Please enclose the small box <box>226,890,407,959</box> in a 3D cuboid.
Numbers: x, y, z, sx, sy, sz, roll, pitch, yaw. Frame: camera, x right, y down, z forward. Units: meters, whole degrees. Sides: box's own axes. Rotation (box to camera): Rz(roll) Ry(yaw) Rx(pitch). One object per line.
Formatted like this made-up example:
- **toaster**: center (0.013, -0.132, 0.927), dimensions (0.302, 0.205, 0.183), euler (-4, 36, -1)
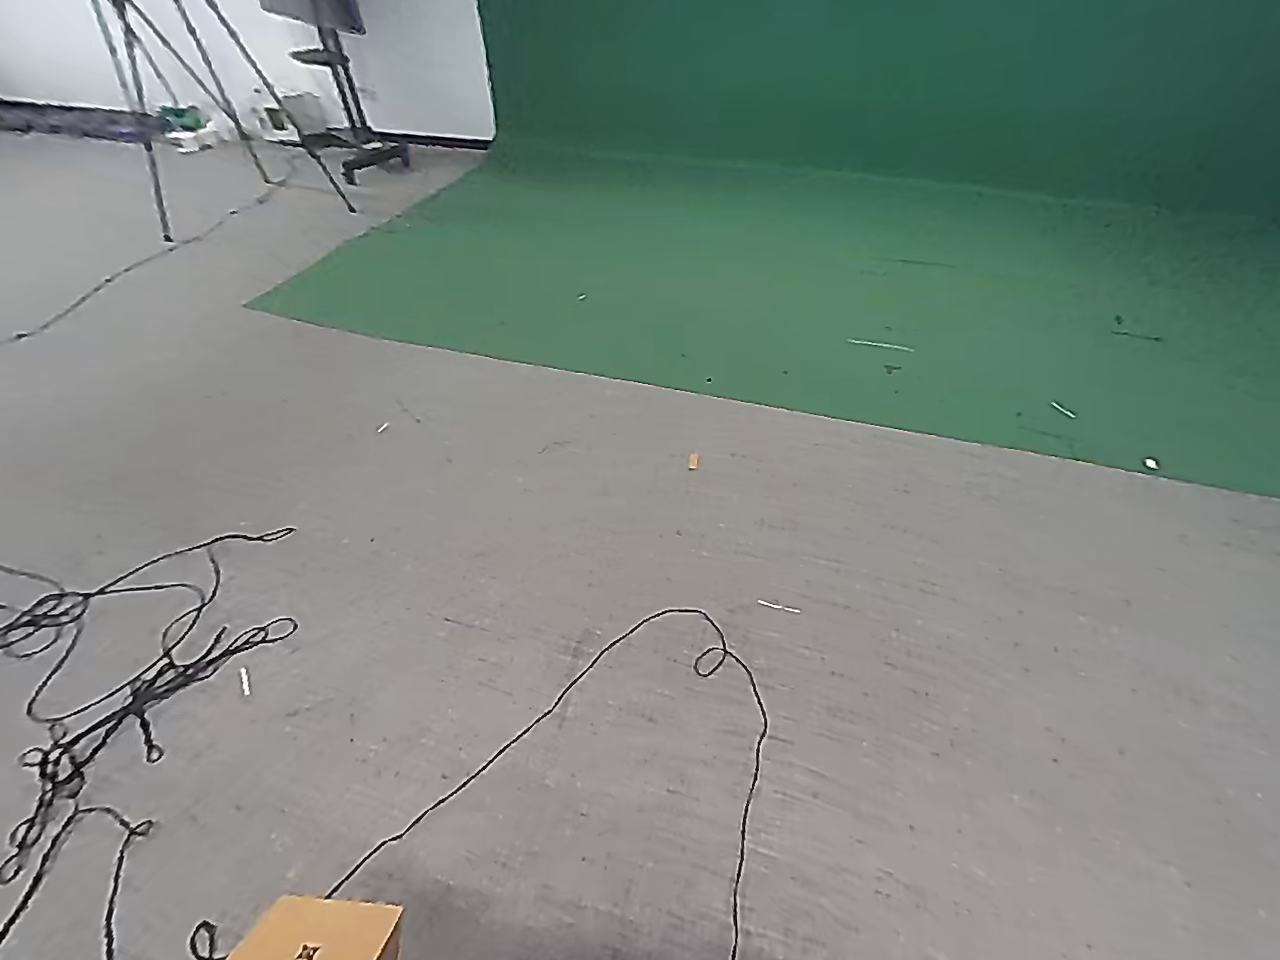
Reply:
- **small box**: center (-0.402, 0.640, 0.639), dimensions (0.168, 0.179, 0.176), euler (7, 89, 0)
